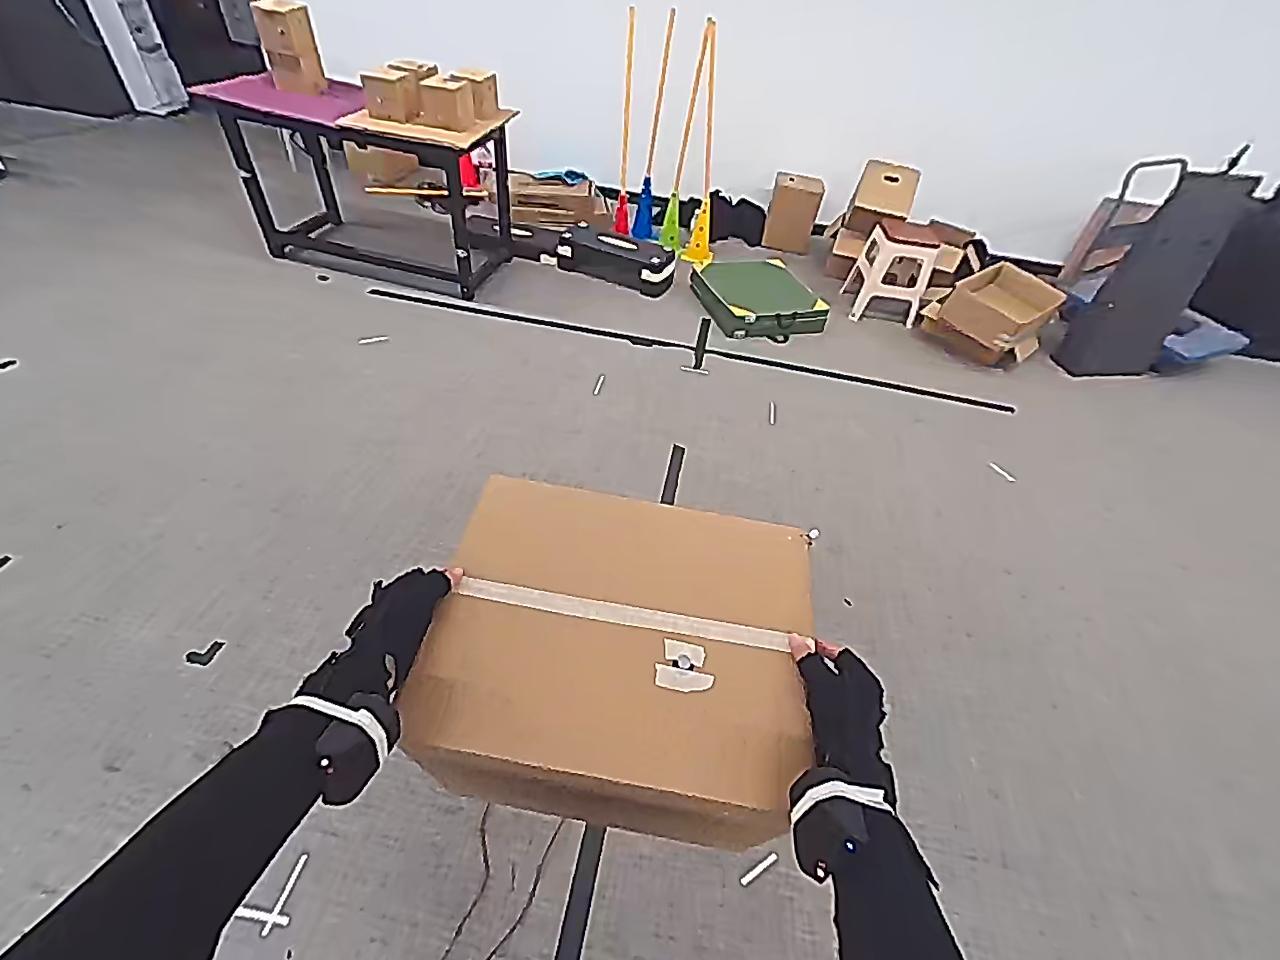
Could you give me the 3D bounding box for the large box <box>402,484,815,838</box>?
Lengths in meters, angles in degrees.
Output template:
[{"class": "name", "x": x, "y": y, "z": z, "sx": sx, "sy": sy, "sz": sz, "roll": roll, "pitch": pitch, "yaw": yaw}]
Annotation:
[{"class": "large box", "x": -0.026, "y": 0.244, "z": 0.713, "sx": 0.408, "sy": 0.320, "sz": 0.320, "roll": 10, "pitch": 52, "yaw": 1}]
